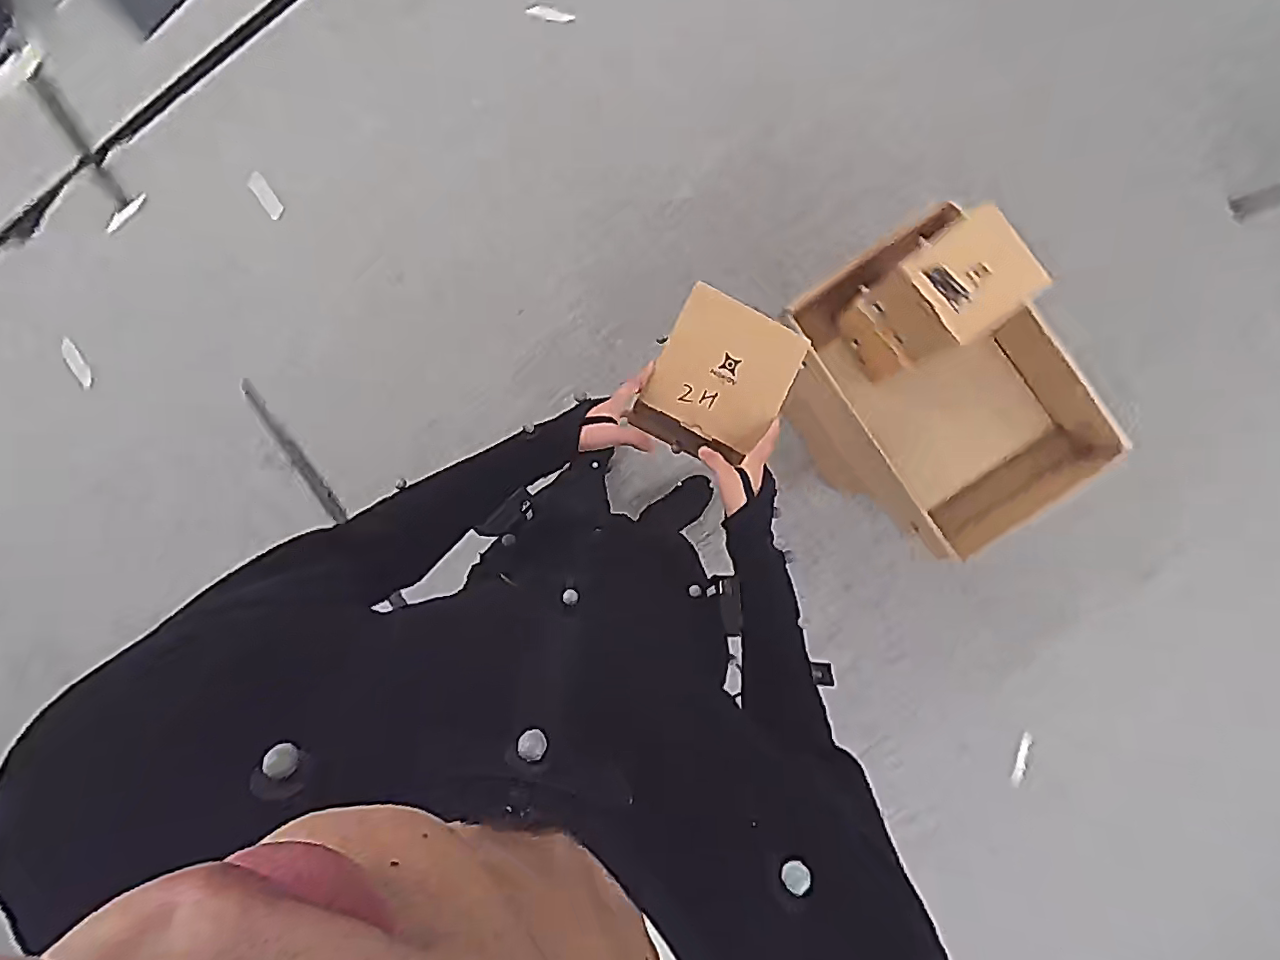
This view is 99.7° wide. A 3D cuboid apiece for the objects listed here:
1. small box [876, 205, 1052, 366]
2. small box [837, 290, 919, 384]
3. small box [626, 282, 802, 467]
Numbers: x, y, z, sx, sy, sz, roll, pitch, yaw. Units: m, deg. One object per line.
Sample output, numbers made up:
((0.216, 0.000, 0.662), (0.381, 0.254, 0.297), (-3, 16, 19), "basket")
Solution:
((0.536, -0.319, 0.931), (0.179, 0.176, 0.168), (-35, 89, 3), "small box")
((0.533, -0.317, 1.095), (0.179, 0.176, 0.168), (-35, 89, 4), "small box")
((0.089, -0.133, 0.751), (0.168, 0.176, 0.179), (27, 85, -4), "small box")
